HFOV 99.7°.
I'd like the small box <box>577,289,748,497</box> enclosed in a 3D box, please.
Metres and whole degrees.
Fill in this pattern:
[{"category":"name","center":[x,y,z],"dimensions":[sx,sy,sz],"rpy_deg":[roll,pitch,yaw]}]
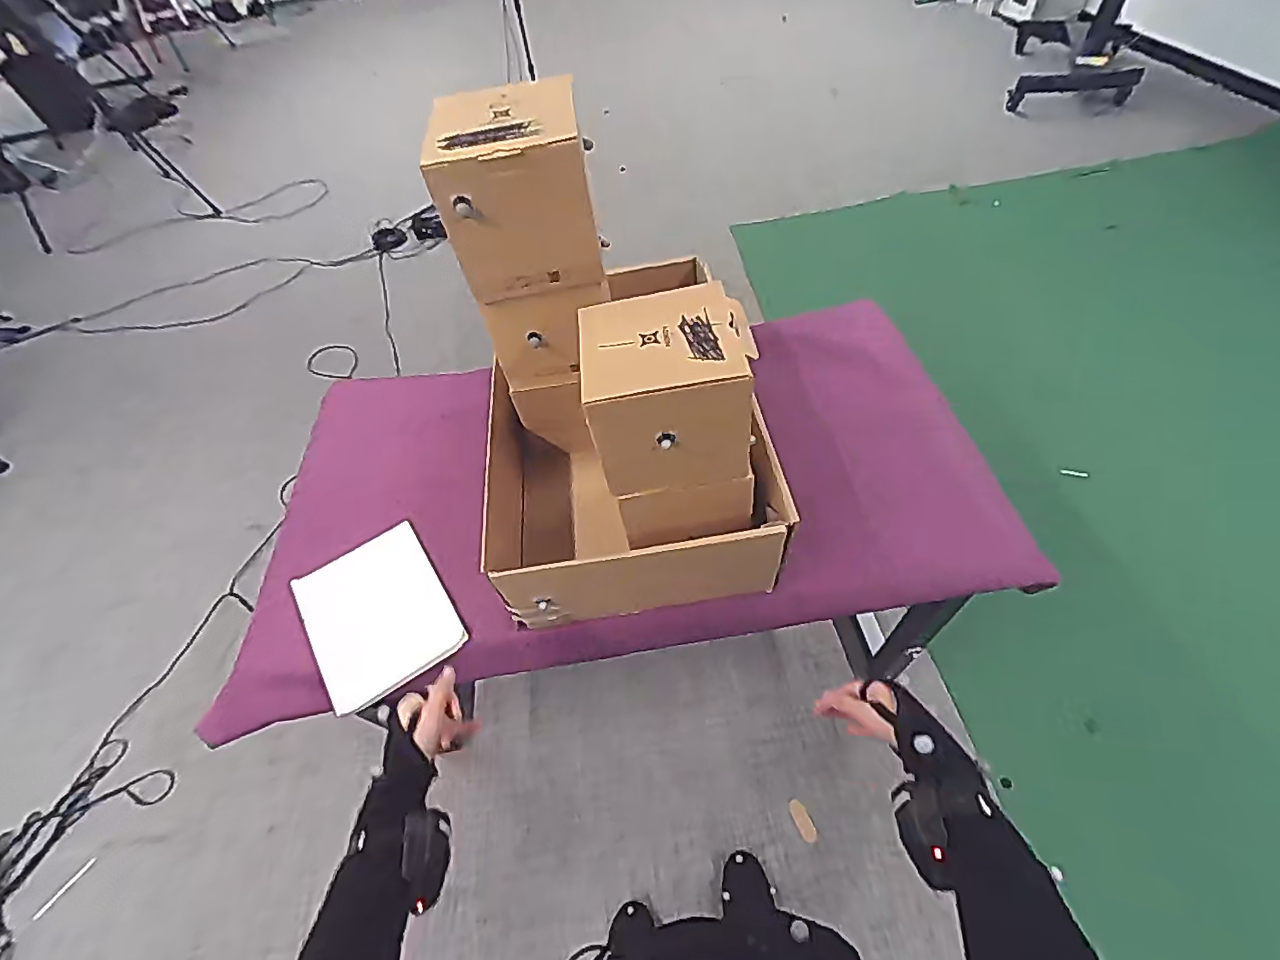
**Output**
[{"category":"small box","center":[0.027,-0.099,0.655],"dimensions":[0.179,0.176,0.168],"rpy_deg":[-9,51,4]}]

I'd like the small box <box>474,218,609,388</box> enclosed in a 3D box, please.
[{"category":"small box","center":[-0.132,-0.252,0.801],"dimensions":[0.168,0.176,0.179],"rpy_deg":[-8,54,1]}]
